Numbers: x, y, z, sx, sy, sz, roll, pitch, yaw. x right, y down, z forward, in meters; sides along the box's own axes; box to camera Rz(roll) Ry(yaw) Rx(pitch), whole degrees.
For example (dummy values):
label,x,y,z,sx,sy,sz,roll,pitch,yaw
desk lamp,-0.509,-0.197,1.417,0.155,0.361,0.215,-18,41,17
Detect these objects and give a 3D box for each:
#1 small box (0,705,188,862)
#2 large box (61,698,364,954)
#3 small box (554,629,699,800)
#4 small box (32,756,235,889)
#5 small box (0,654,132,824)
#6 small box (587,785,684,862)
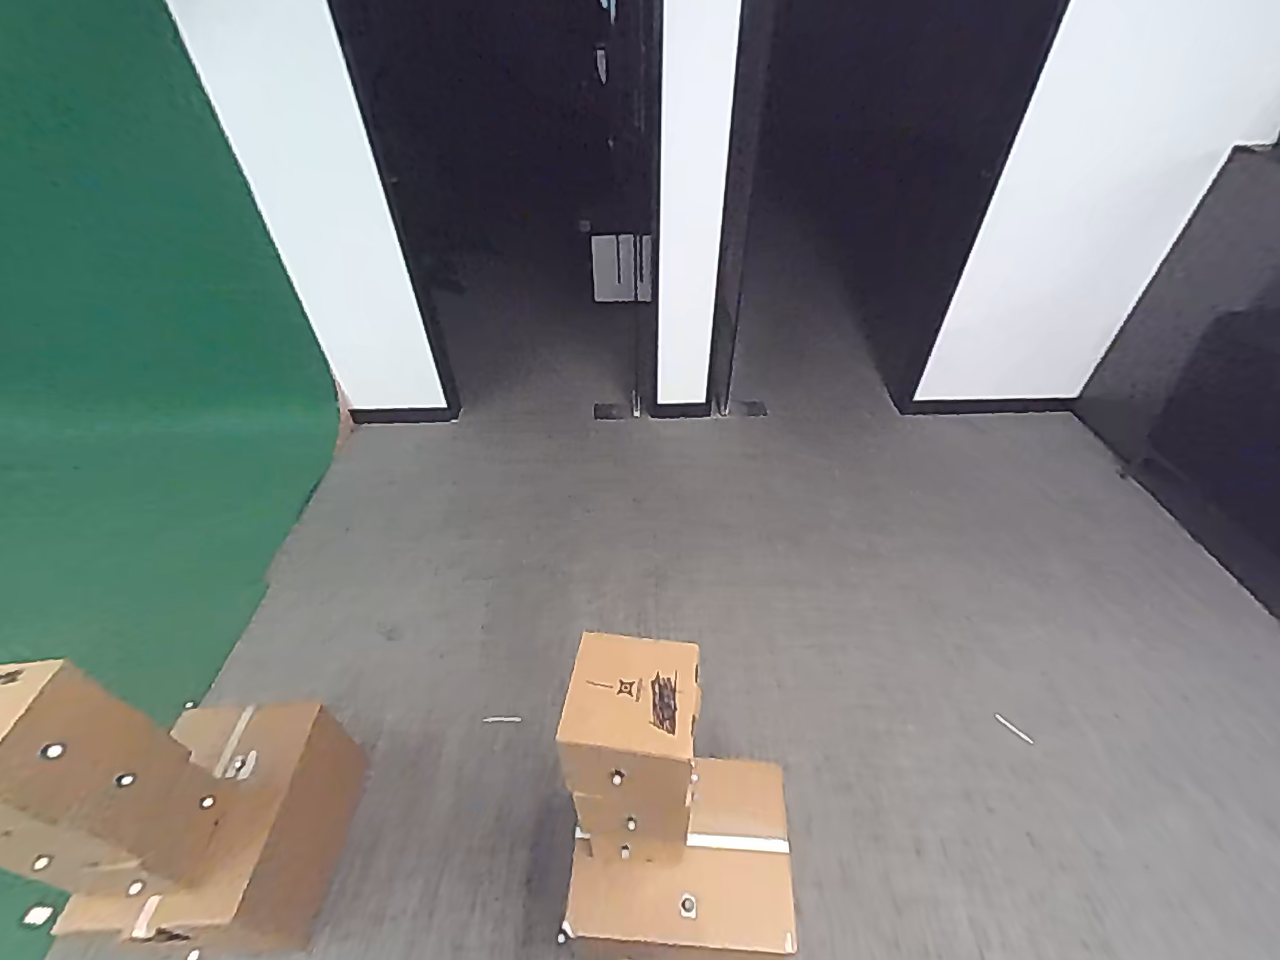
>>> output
label,x,y,z,sx,sy,sz,roll,pitch,yaw
small box,-0.892,0.494,0.875,0.168,0.176,0.179,-5,41,-5
large box,-0.876,0.753,1.195,0.320,0.320,0.408,-1,41,-2
small box,-0.011,0.344,0.791,0.179,0.176,0.168,5,41,7
small box,-0.892,0.620,0.979,0.179,0.176,0.168,-3,42,-2
small box,-0.891,0.372,0.763,0.168,0.176,0.179,-4,42,-4
small box,-0.001,0.589,1.012,0.168,0.176,0.179,3,41,3
